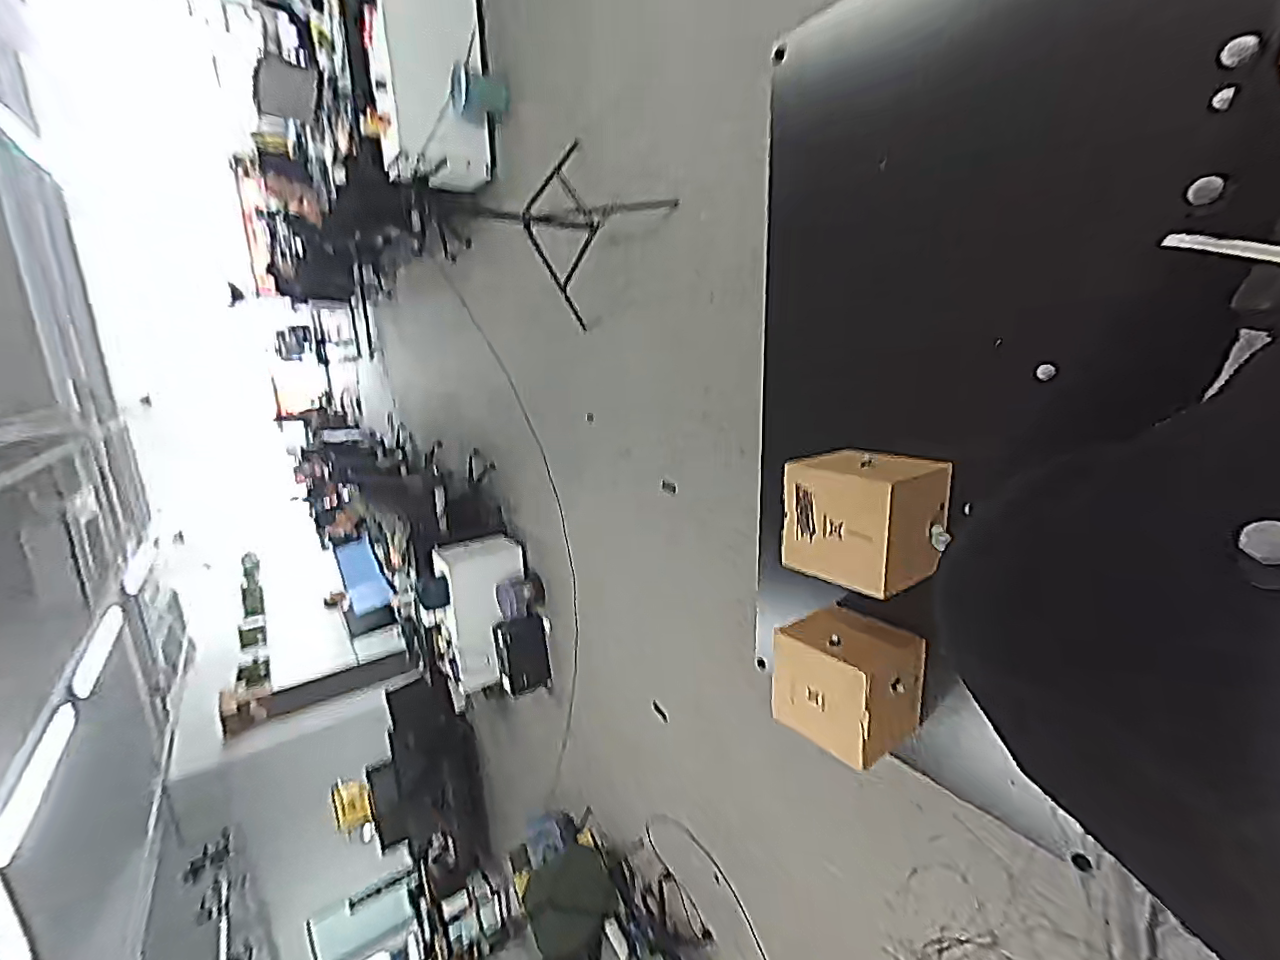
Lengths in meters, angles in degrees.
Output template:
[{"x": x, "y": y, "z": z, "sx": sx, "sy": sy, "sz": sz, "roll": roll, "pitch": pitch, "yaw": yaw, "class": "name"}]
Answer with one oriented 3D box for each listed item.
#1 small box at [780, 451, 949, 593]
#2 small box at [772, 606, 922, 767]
[{"x": 0.339, "y": 0.051, "z": 0.830, "sx": 0.179, "sy": 0.176, "sz": 0.168, "roll": 15, "pitch": 111, "yaw": 52, "class": "small box"}, {"x": 0.344, "y": 0.329, "z": 0.905, "sx": 0.179, "sy": 0.176, "sz": 0.168, "roll": 14, "pitch": 109, "yaw": 54, "class": "small box"}]
